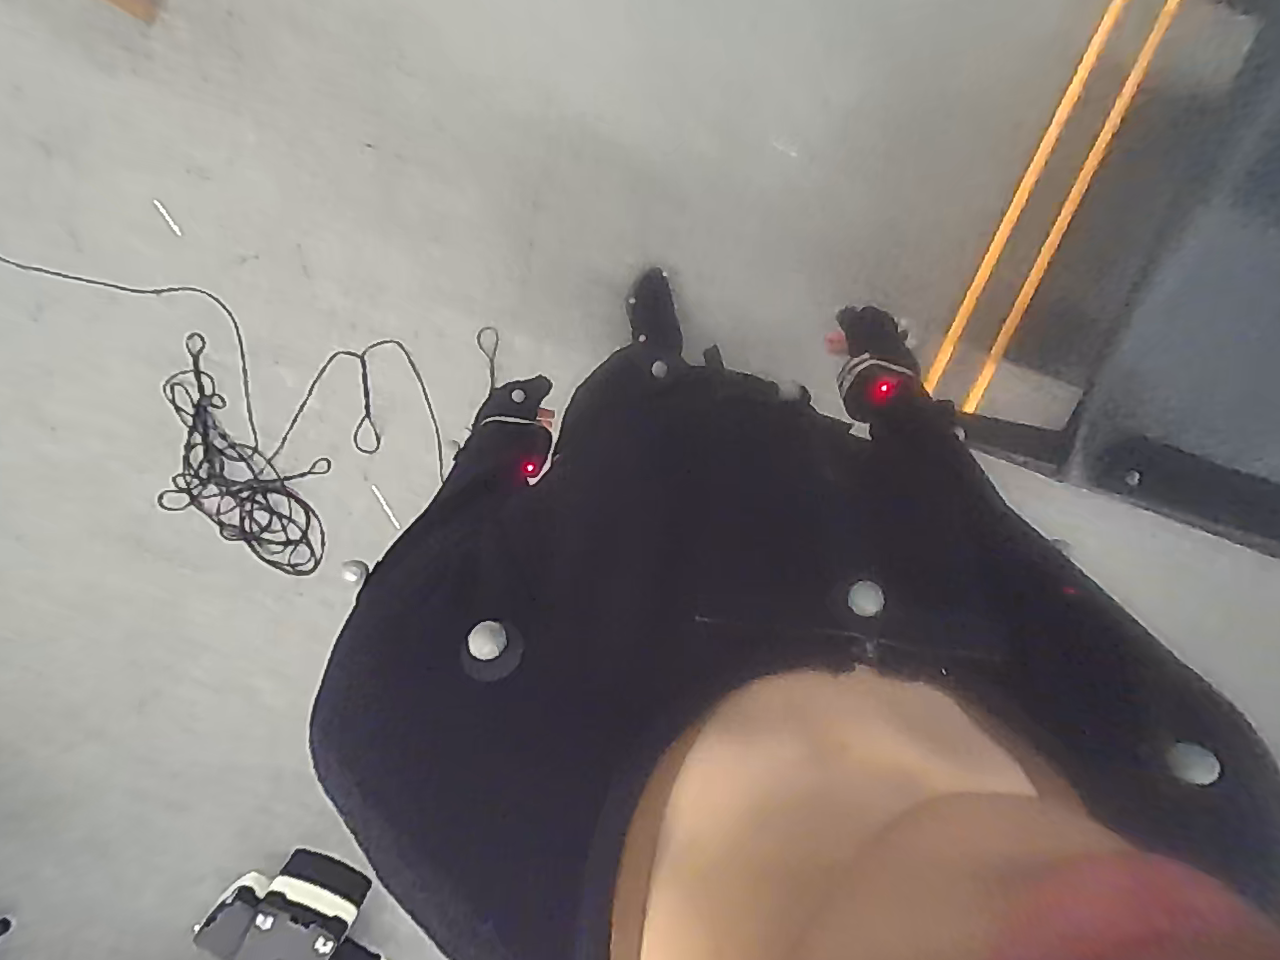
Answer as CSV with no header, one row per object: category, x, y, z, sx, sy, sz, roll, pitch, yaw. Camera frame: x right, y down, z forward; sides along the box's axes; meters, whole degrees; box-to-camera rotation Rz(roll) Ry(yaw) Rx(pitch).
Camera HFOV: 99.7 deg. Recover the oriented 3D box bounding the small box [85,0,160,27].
small box,-1.180,-1.128,1.156,0.179,0.176,0.168,23,104,-4
